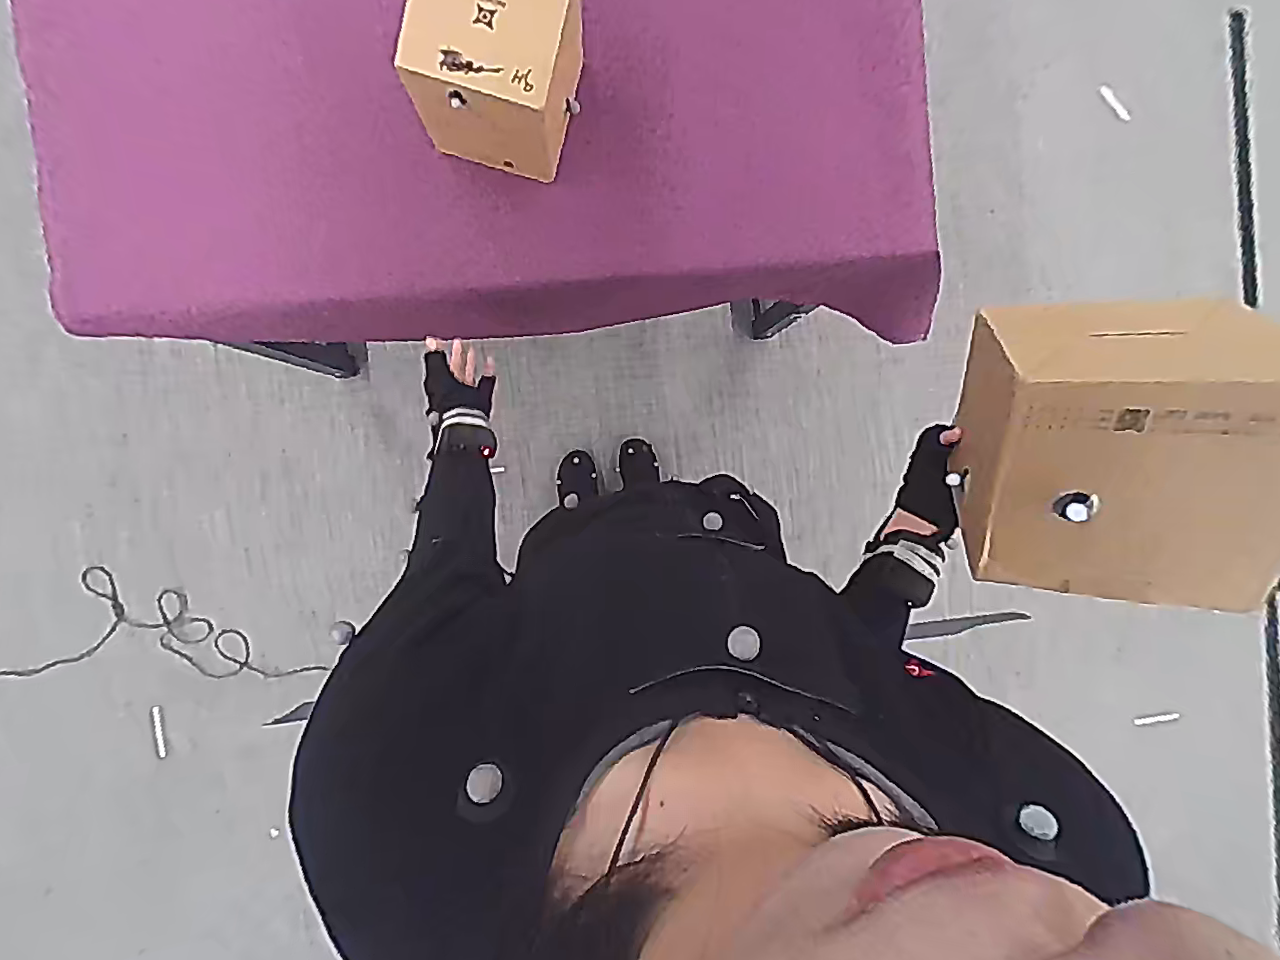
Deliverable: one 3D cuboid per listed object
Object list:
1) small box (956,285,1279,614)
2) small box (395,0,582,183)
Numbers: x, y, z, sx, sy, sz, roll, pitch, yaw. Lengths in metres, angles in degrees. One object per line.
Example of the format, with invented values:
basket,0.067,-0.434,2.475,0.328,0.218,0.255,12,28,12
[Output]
small box,0.348,-0.033,0.396,0.168,0.179,0.176,5,123,20
small box,-0.170,-0.508,0.659,0.168,0.176,0.179,14,90,-6
